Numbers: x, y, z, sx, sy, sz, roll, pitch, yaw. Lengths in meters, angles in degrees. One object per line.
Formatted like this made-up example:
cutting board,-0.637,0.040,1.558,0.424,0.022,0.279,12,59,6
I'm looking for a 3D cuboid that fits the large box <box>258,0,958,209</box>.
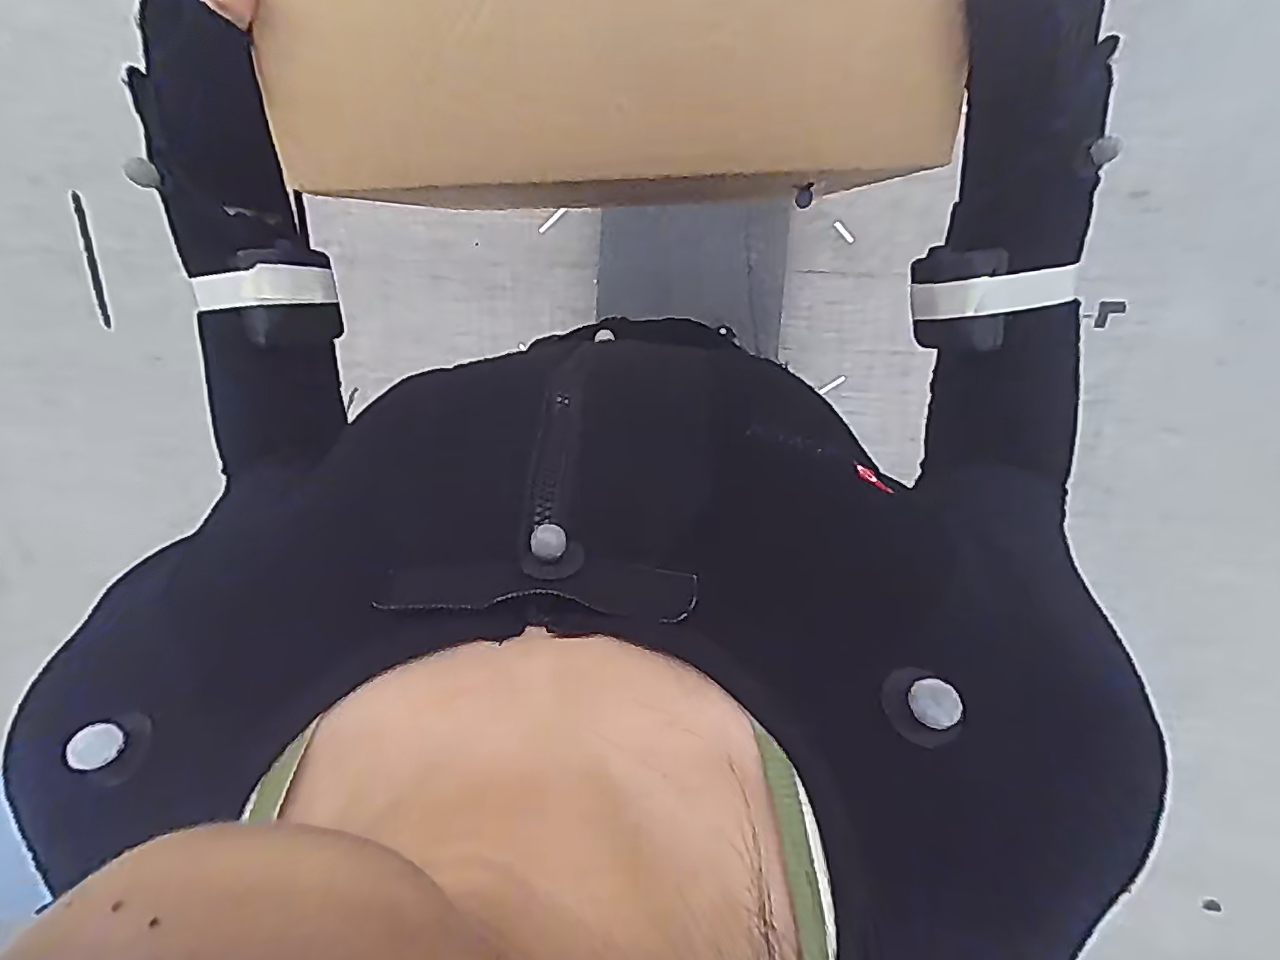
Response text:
large box,-0.016,-0.391,0.415,0.408,0.320,0.320,-1,114,3
